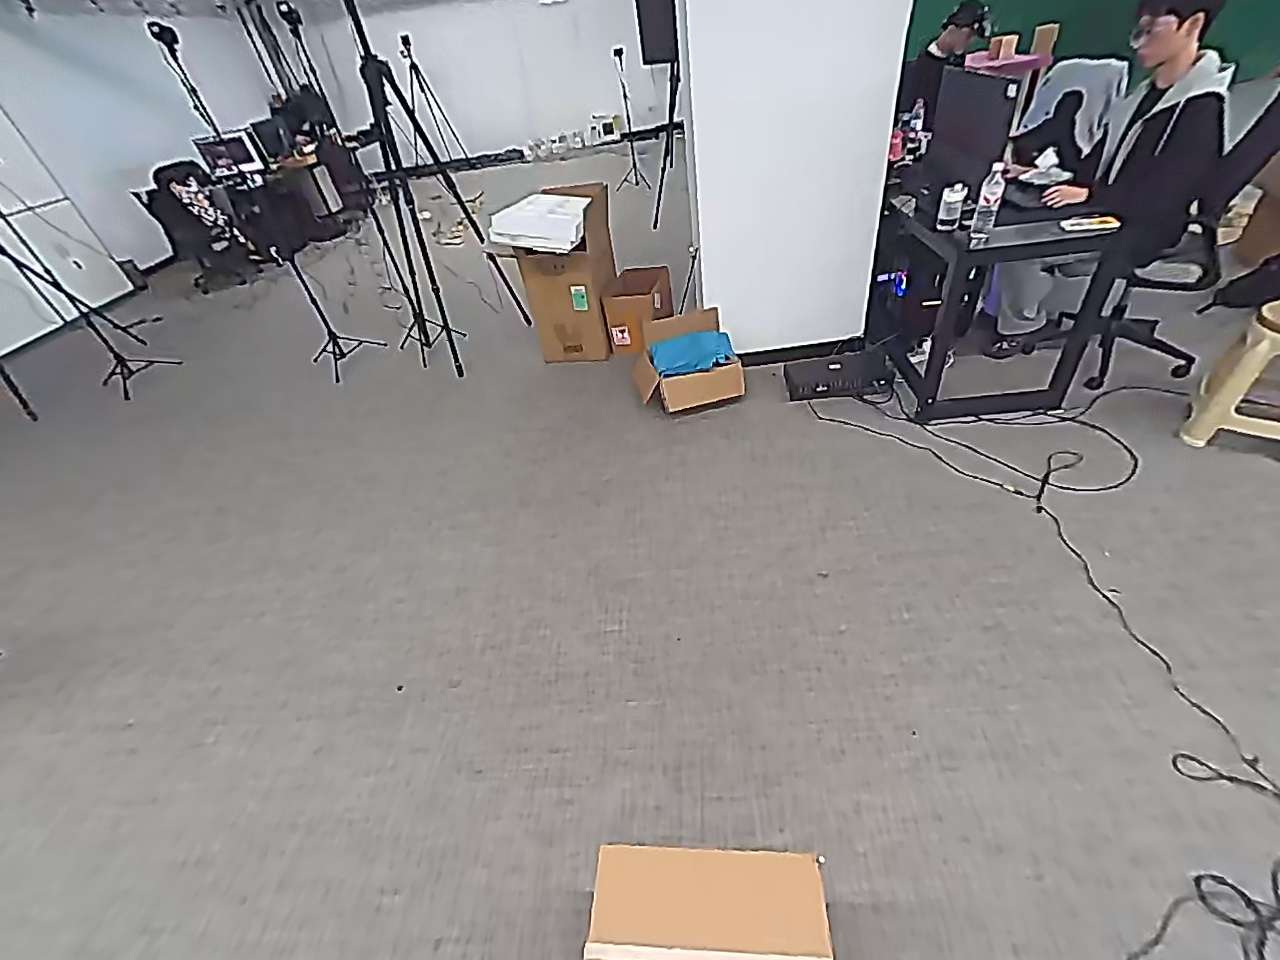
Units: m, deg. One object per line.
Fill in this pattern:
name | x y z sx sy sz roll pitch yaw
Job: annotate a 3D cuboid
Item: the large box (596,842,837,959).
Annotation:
large box | 0.139 0.896 0.985 0.408 0.320 0.320 -3 40 8
